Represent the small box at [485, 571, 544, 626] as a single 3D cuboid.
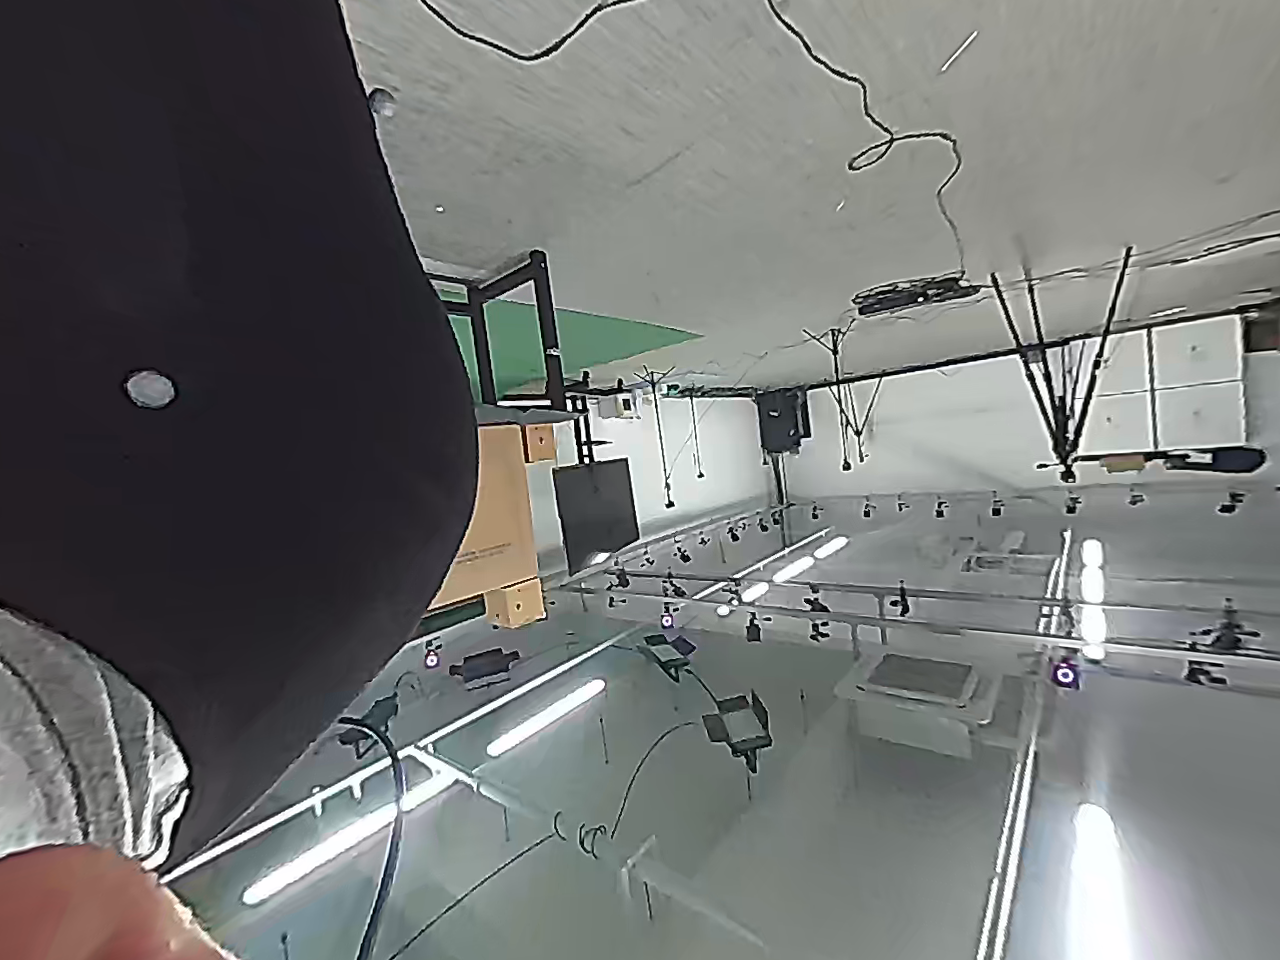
[{"bbox_3d":[-0.517,0.476,2.205,0.179,0.176,0.168,-2,-174,44],"label":"small box"}]
